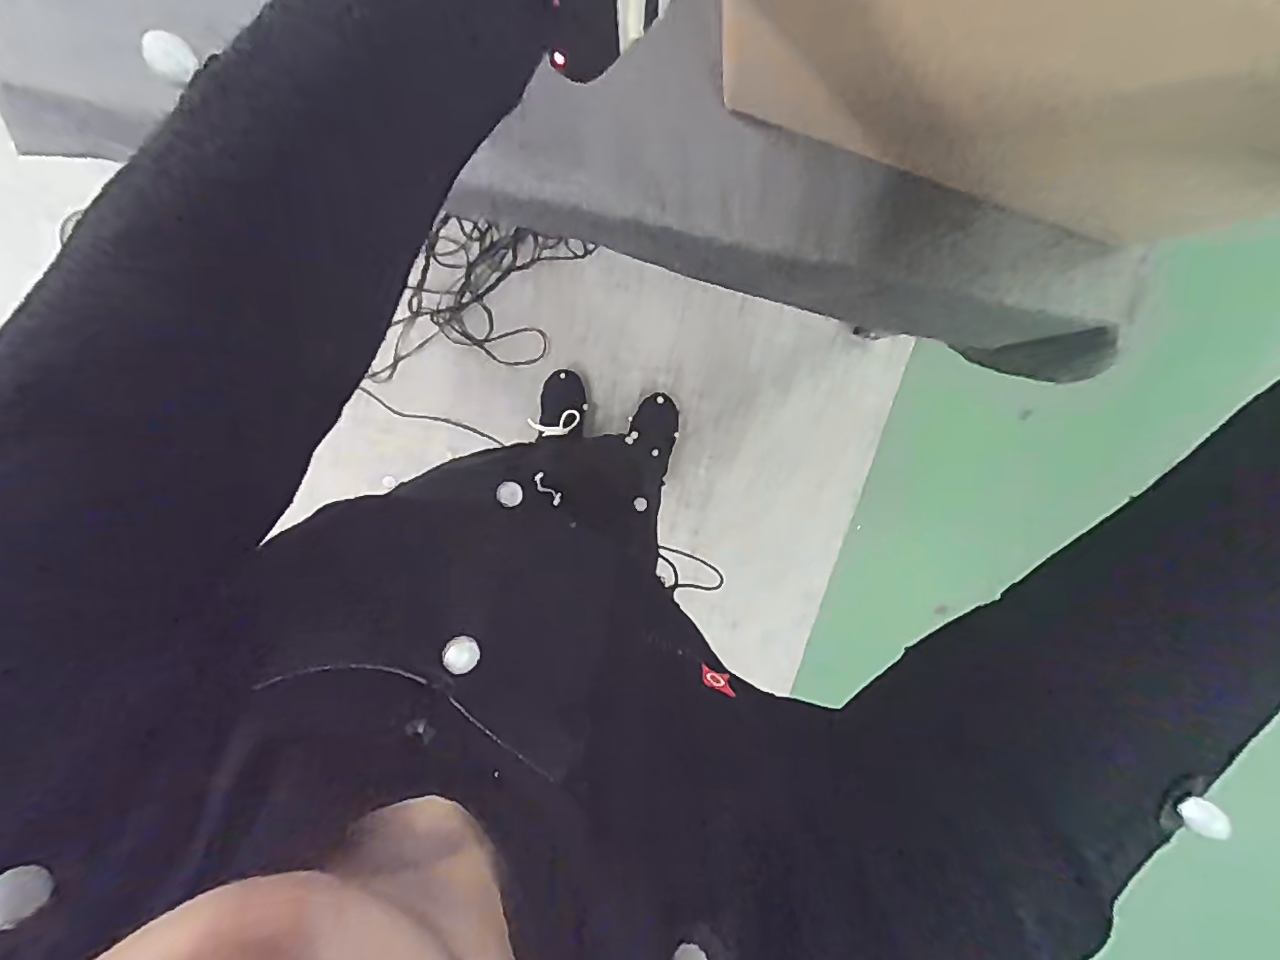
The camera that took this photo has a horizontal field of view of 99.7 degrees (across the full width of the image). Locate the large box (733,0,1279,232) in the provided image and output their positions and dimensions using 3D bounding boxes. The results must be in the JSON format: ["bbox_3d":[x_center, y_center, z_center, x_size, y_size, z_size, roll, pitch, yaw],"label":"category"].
[{"bbox_3d":[0.301,-0.393,0.325,0.408,0.320,0.320,21,108,1],"label":"large box"}]
